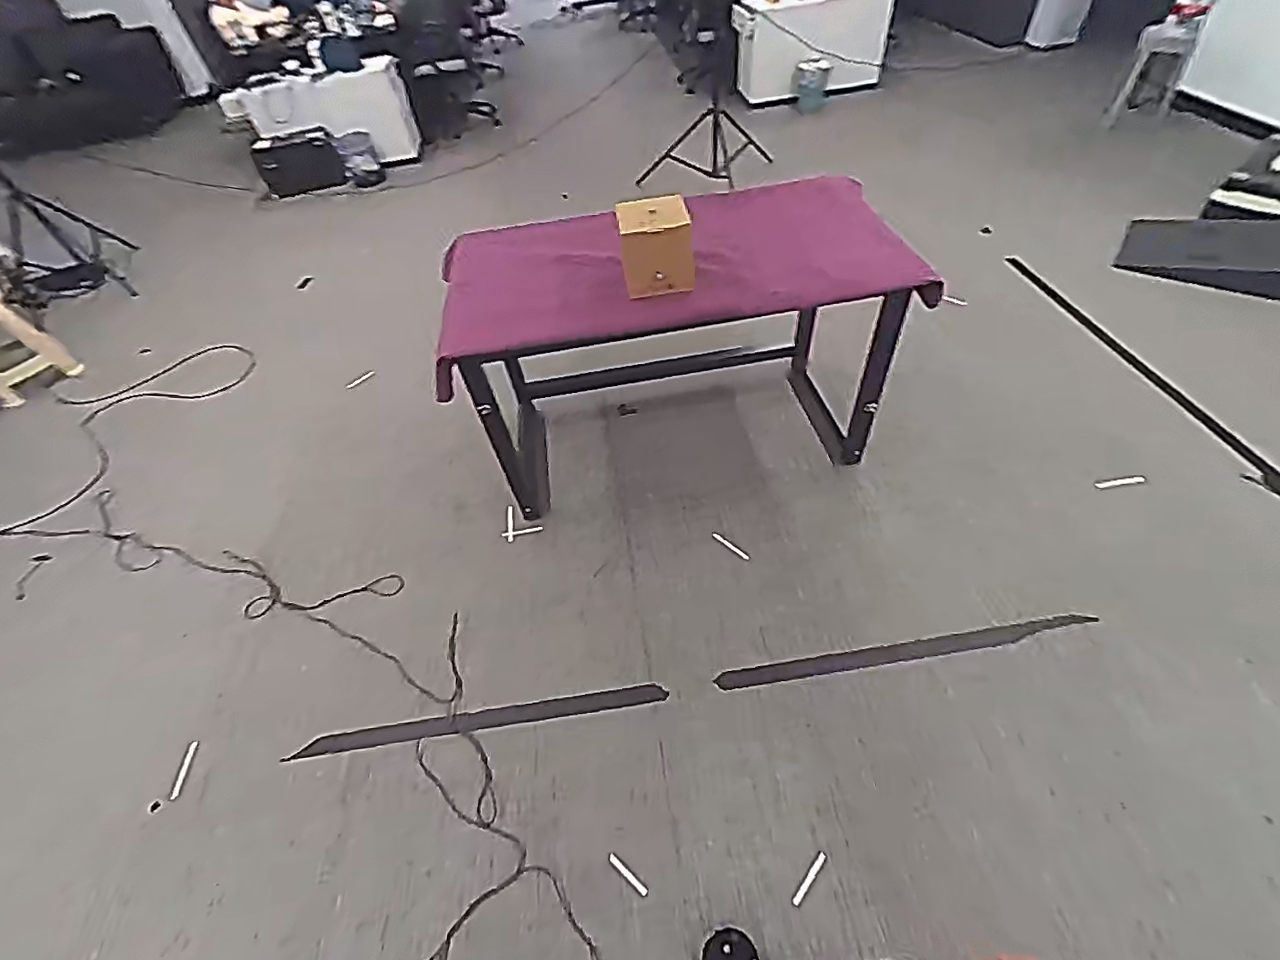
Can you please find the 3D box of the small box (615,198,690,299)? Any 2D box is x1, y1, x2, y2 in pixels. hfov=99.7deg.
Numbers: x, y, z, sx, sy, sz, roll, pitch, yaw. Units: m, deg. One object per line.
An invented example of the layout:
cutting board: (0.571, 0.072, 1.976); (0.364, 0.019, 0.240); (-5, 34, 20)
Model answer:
small box: (0.031, -0.580, 1.360); (0.168, 0.176, 0.179); (-8, 49, 1)
